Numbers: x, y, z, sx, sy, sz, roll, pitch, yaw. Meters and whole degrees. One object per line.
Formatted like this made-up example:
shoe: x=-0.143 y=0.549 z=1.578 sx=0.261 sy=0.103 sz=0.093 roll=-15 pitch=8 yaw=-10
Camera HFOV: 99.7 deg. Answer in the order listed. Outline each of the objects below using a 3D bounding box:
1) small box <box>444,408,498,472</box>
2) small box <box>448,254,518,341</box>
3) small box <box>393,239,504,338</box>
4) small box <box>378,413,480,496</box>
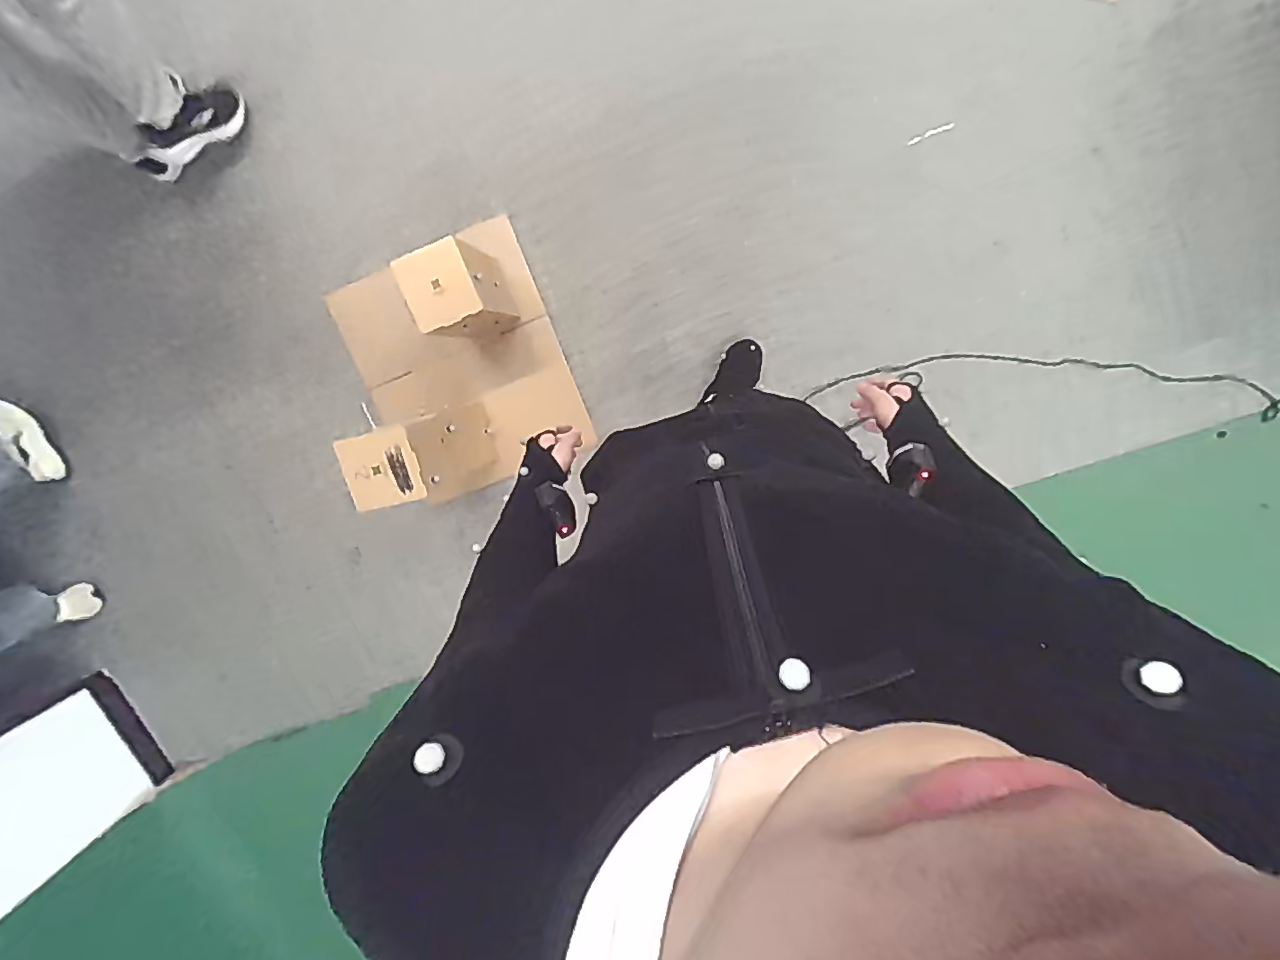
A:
small box: x=-0.534 y=-0.108 z=1.576 sx=0.168 sy=0.176 sz=0.179 roll=-12 pitch=102 yaw=8
small box: x=-0.453 y=-0.493 z=1.476 sx=0.168 sy=0.176 sz=0.179 roll=-19 pitch=102 yaw=8
small box: x=-0.458 y=-0.456 z=1.319 sx=0.168 sy=0.176 sz=0.179 roll=-20 pitch=103 yaw=8
small box: x=-0.542 y=-0.073 z=1.413 sx=0.168 sy=0.176 sz=0.179 roll=-12 pitch=102 yaw=8
